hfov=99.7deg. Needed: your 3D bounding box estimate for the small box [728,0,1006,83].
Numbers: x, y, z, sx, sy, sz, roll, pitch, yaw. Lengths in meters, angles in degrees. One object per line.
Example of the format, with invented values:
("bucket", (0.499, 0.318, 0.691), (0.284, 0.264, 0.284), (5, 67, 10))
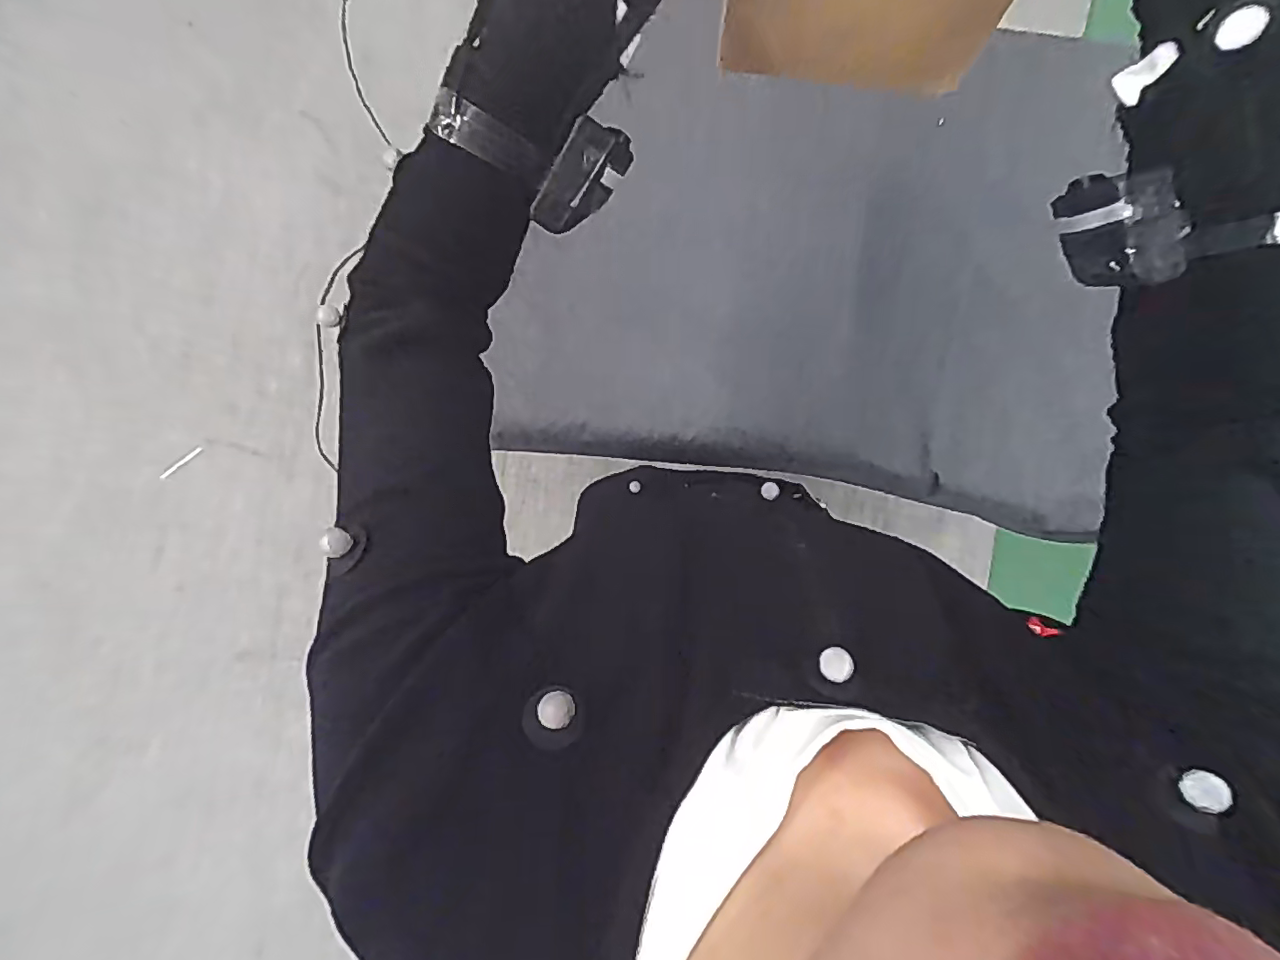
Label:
("small box", (0.154, -0.382, 0.324), (0.179, 0.176, 0.168), (7, 85, 2))
